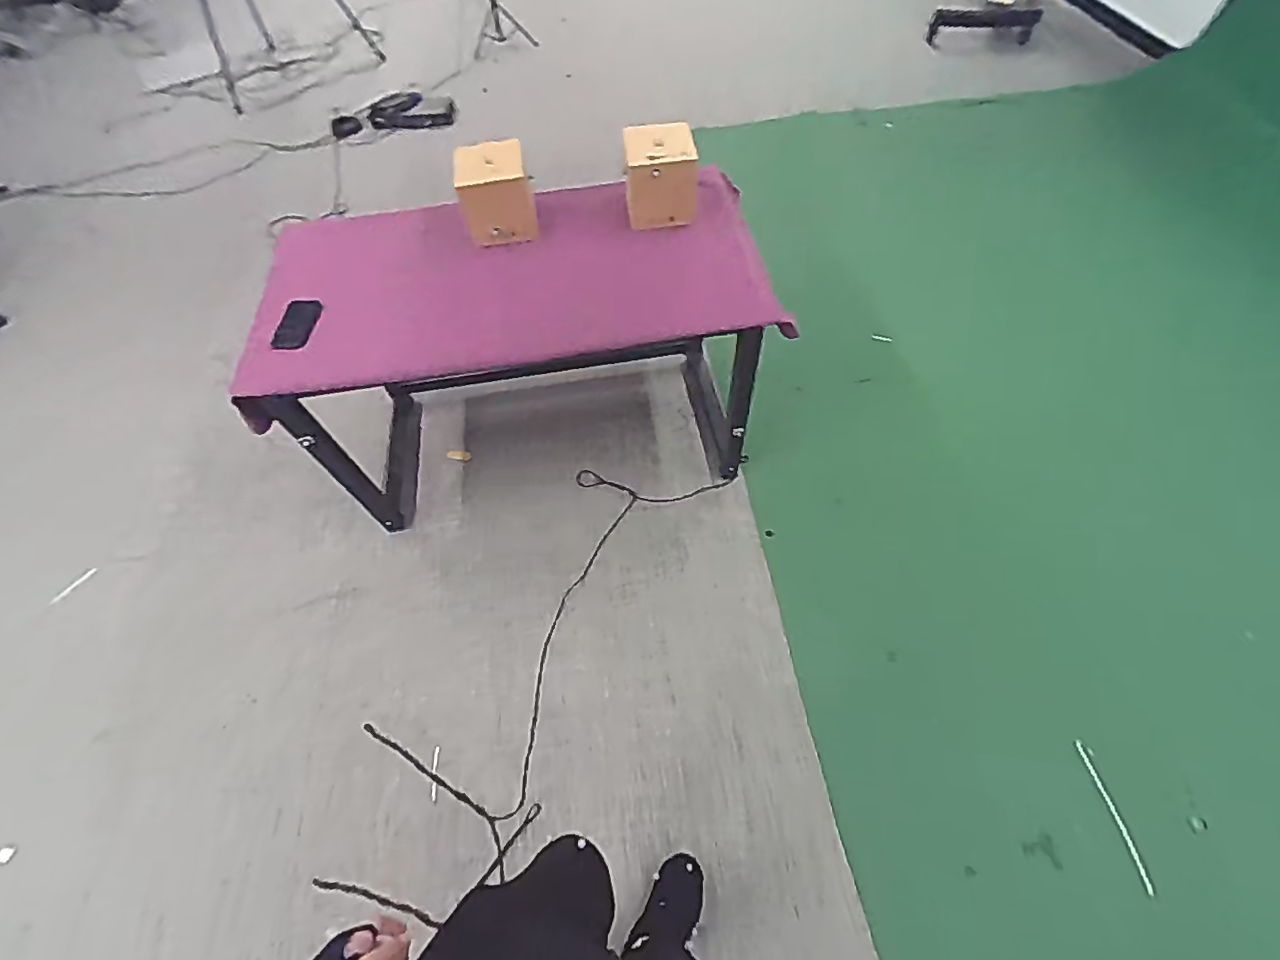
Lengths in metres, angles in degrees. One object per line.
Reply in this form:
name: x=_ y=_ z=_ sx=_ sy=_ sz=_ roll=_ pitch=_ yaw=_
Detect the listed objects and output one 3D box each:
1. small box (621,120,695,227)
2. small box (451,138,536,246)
small box: x=0.044 y=-0.770 z=1.365 sx=0.168 sy=0.176 sz=0.179 roll=-8 pitch=58 yaw=0
small box: x=-0.365 y=-0.722 z=1.364 sx=0.168 sy=0.176 sz=0.179 roll=-10 pitch=59 yaw=-1
